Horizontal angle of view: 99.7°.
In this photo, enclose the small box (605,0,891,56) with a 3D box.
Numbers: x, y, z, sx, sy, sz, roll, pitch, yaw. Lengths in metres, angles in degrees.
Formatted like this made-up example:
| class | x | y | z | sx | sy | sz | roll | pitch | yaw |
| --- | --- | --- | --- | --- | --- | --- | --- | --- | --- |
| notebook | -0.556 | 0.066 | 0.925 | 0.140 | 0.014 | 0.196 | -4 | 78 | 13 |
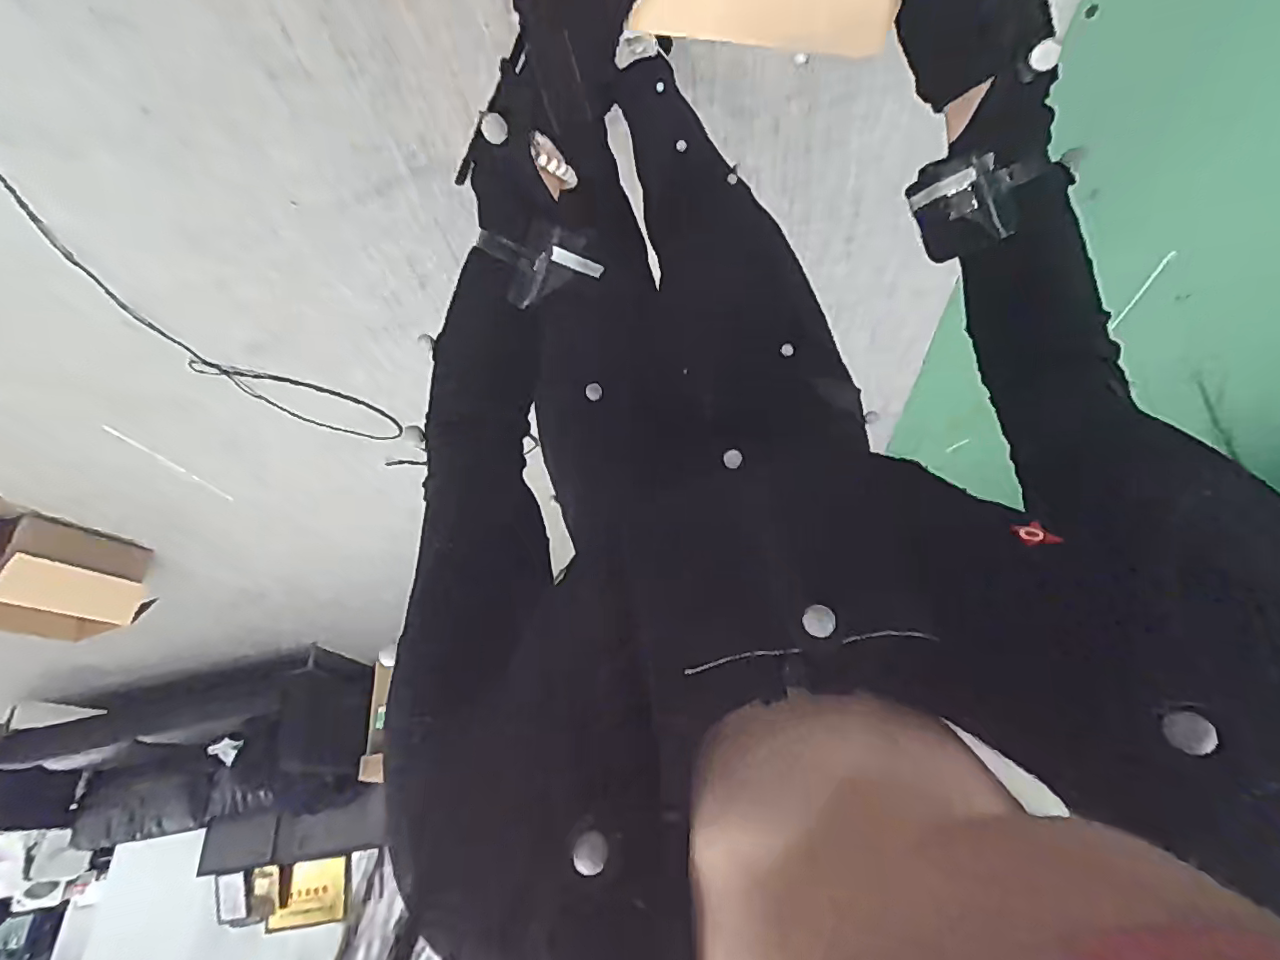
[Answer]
| class | x | y | z | sx | sy | sz | roll | pitch | yaw |
| --- | --- | --- | --- | --- | --- | --- | --- | --- | --- |
| small box | 0.068 | -0.388 | 0.316 | 0.179 | 0.176 | 0.168 | -1 | 146 | -10 |
